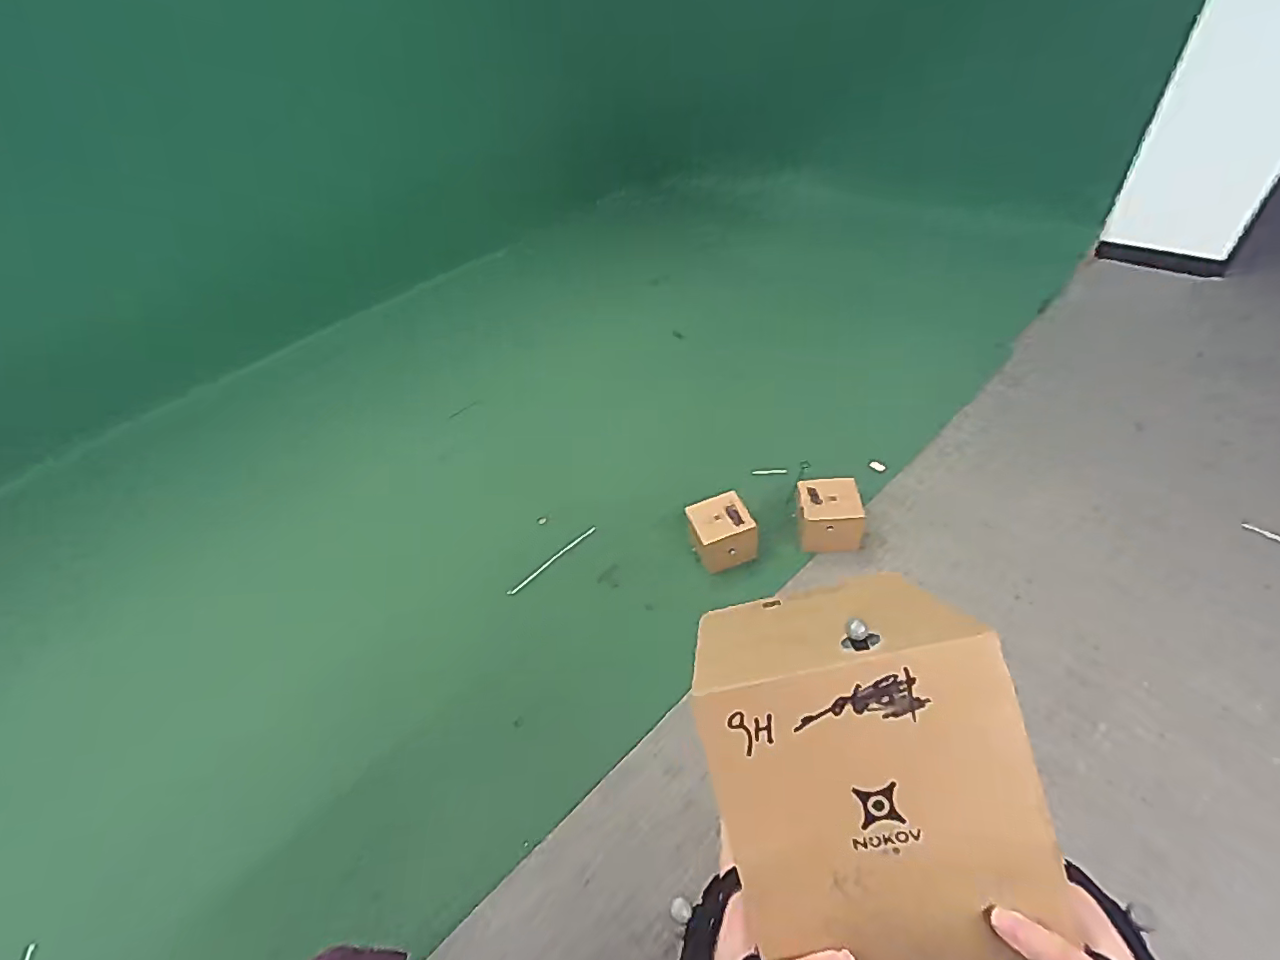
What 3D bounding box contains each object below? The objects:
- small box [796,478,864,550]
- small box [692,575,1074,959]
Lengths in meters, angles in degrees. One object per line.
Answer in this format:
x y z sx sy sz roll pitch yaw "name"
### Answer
0.598 0.113 1.727 0.179 0.176 0.168 -4 46 8 "small box"
0.139 0.181 0.370 0.168 0.176 0.179 -15 90 8 "small box"
